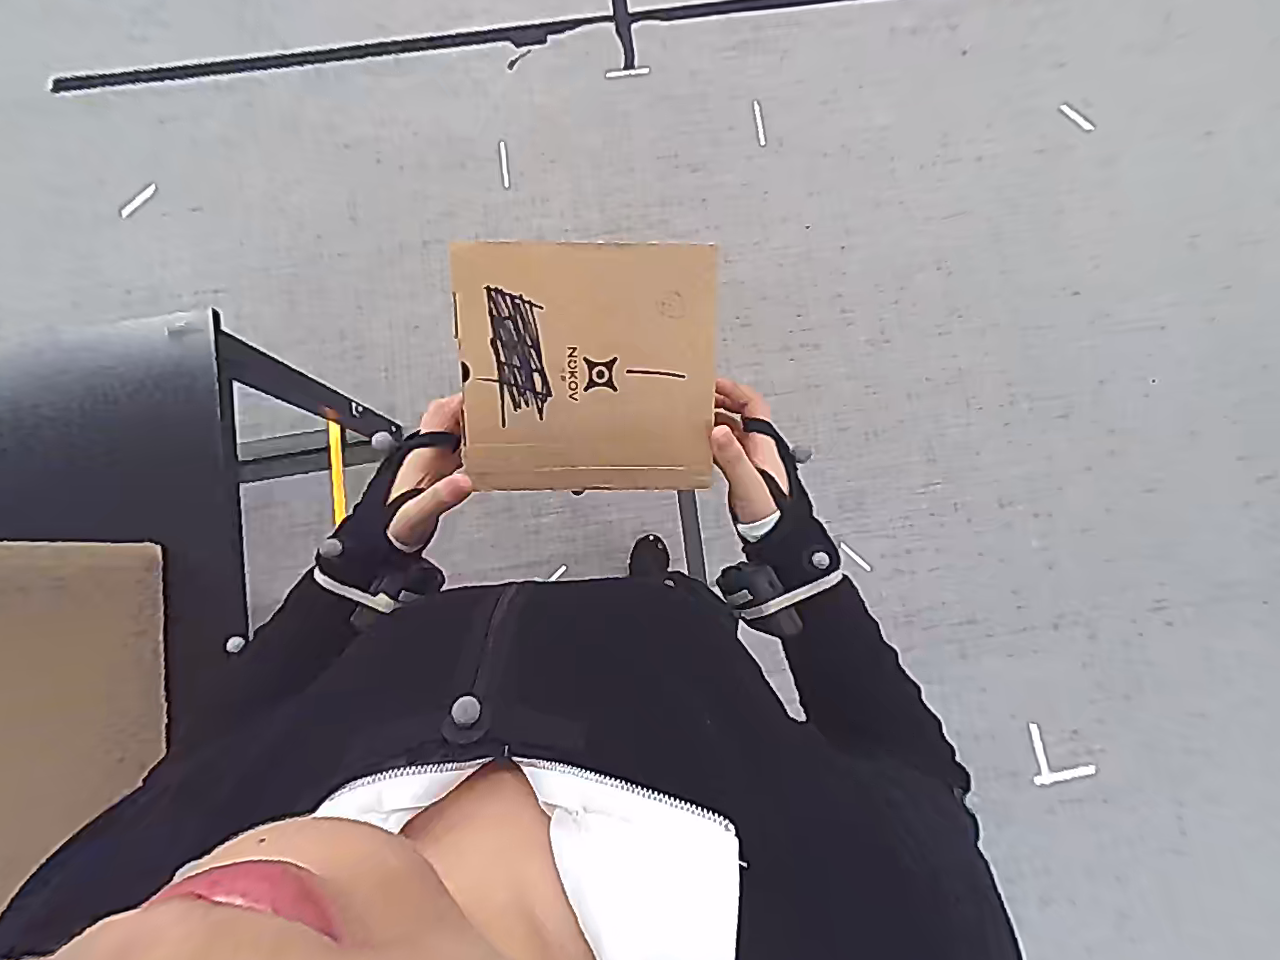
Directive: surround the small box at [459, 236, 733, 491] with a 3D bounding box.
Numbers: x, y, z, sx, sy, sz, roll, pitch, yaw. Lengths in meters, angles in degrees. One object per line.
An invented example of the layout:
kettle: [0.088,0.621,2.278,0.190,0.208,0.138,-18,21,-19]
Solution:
small box: [-0.030,-0.090,0.435,0.179,0.176,0.168,0,104,-2]
